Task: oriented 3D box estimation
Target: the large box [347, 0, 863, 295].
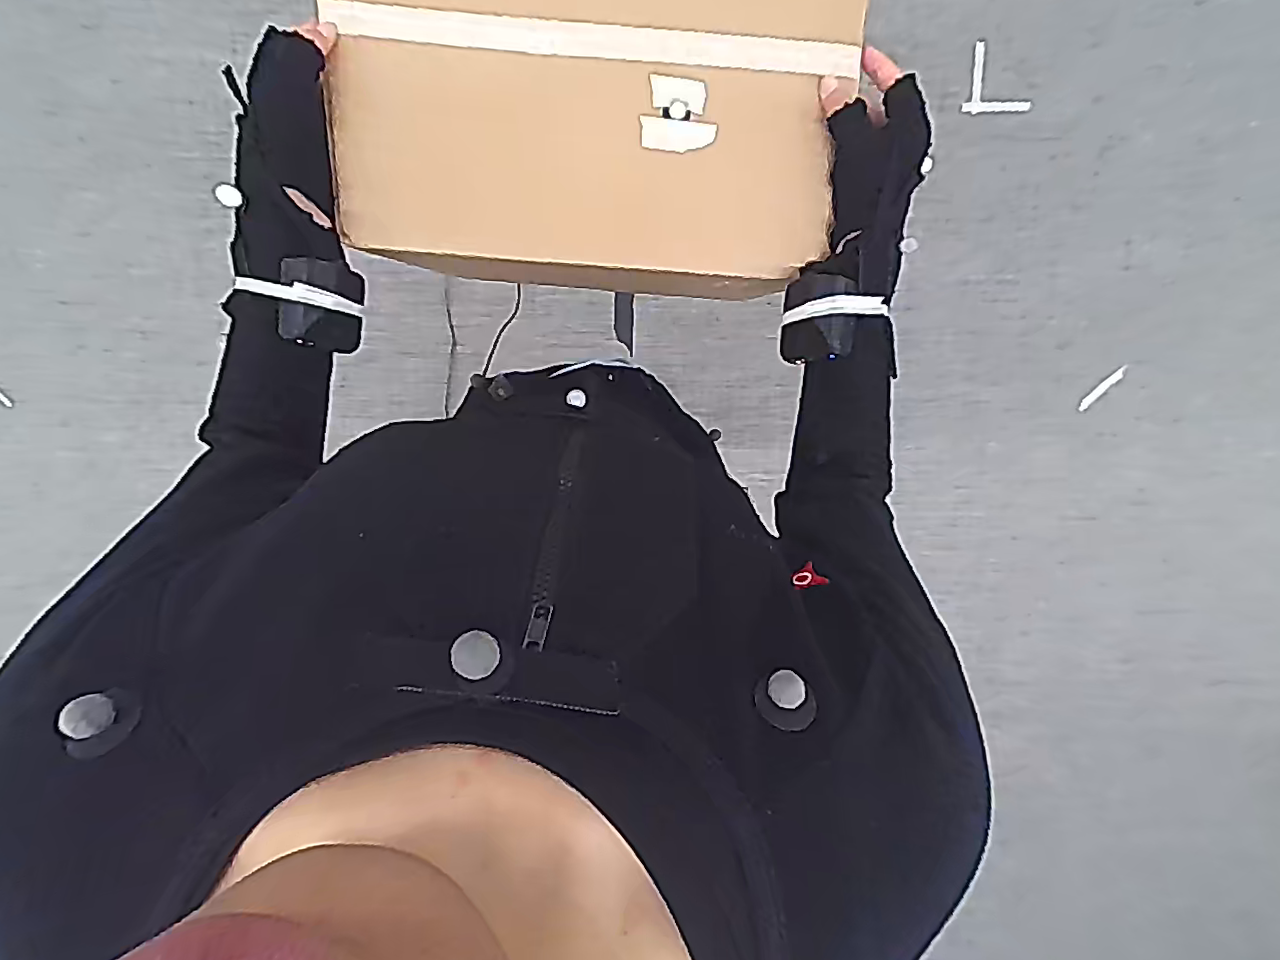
[{"bbox_3d":[-0.033,-0.375,0.567,0.408,0.320,0.320,4,107,-2],"label":"large box"}]
